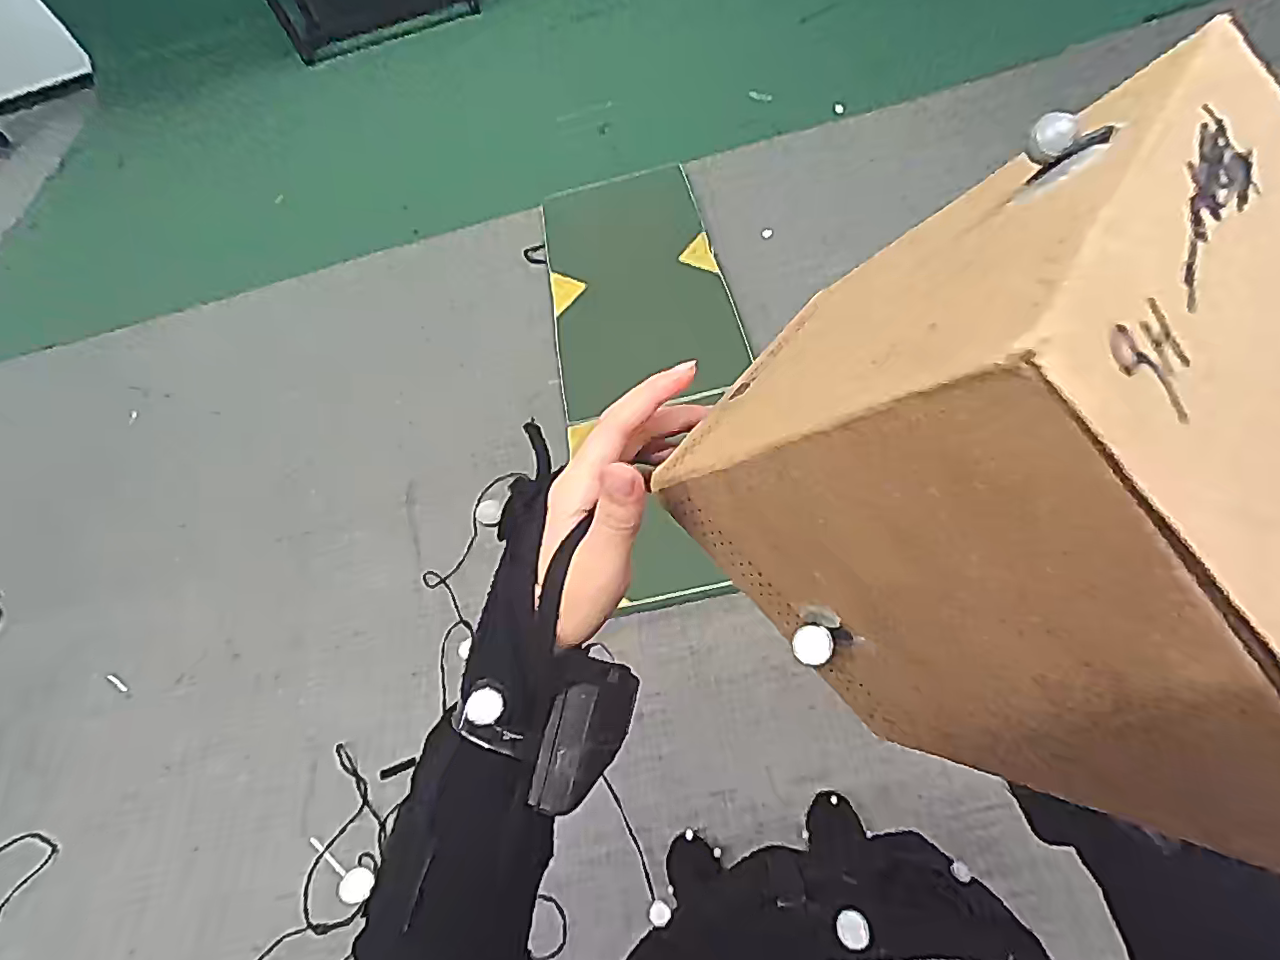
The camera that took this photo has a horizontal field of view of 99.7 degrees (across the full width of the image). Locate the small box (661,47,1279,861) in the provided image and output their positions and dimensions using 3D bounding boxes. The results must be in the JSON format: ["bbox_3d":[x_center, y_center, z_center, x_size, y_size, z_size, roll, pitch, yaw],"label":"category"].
[{"bbox_3d":[0.142,-0.004,0.220,0.179,0.176,0.168,47,66,-9],"label":"small box"}]
